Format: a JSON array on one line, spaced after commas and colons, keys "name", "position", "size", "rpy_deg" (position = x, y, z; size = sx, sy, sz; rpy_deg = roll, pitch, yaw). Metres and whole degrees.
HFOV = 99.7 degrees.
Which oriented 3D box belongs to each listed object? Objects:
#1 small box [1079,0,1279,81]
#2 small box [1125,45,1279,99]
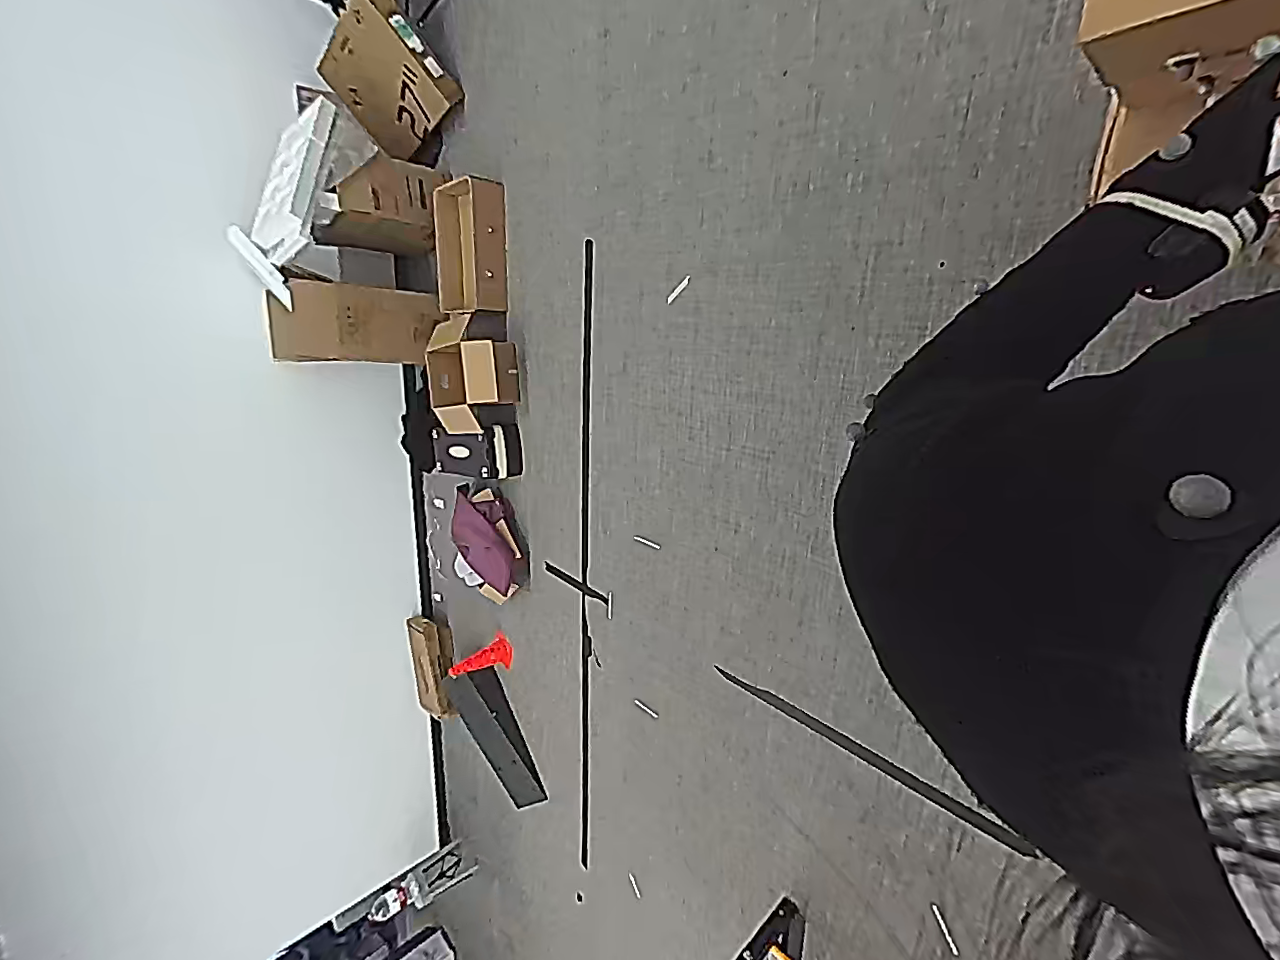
[{"name": "small box", "position": [0.533, -0.504, 0.487], "size": [0.168, 0.176, 0.179], "rpy_deg": [17, 115, 46]}, {"name": "small box", "position": [0.649, -0.557, 0.591], "size": [0.168, 0.176, 0.179], "rpy_deg": [17, 114, 45]}]
